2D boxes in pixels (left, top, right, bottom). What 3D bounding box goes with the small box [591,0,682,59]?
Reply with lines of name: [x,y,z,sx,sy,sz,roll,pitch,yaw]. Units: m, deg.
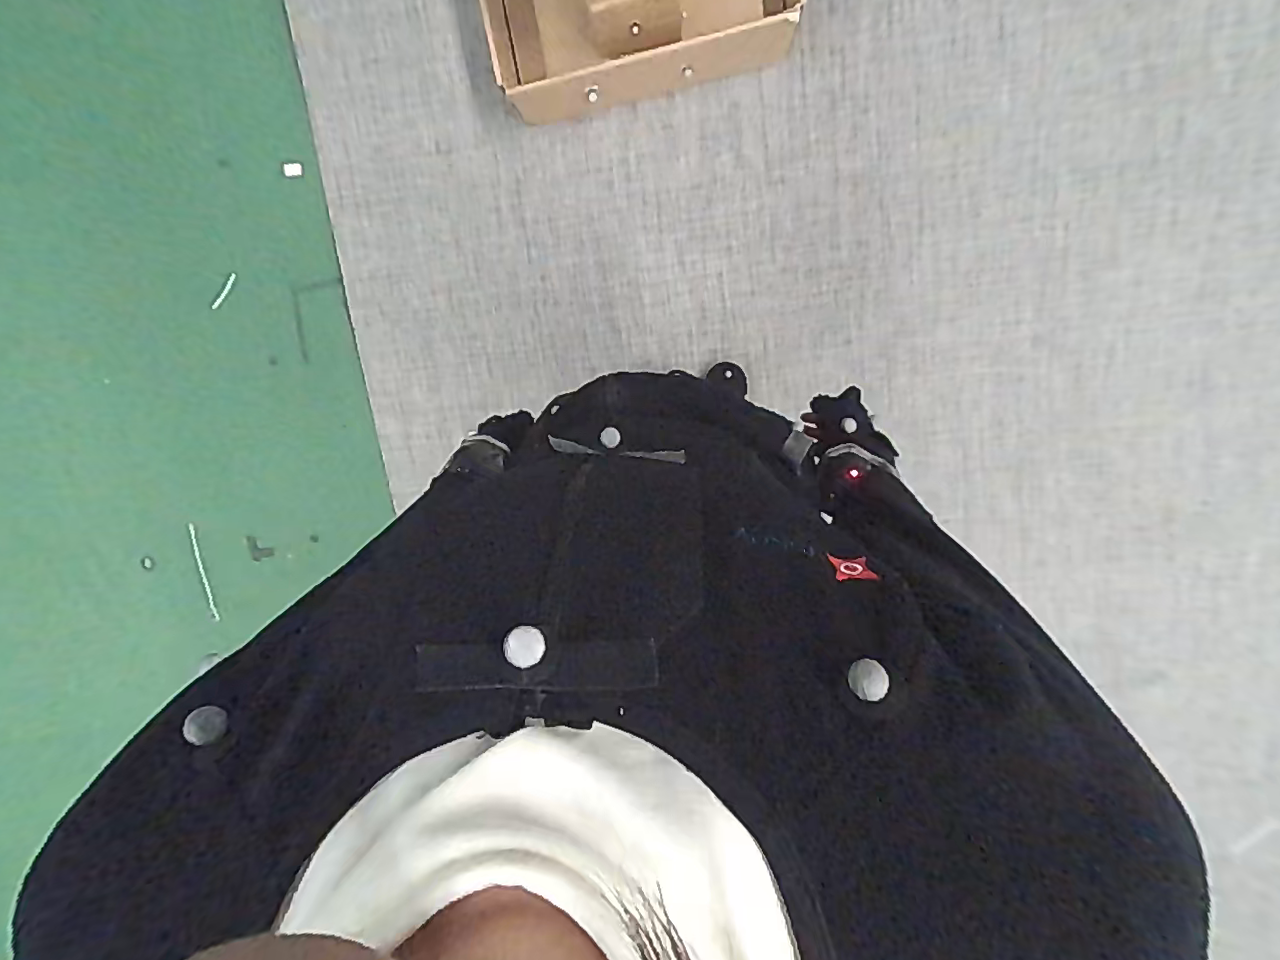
small box: [-0.012,-1.002,1.092,0.179,0.176,0.168,-10,100,8]
